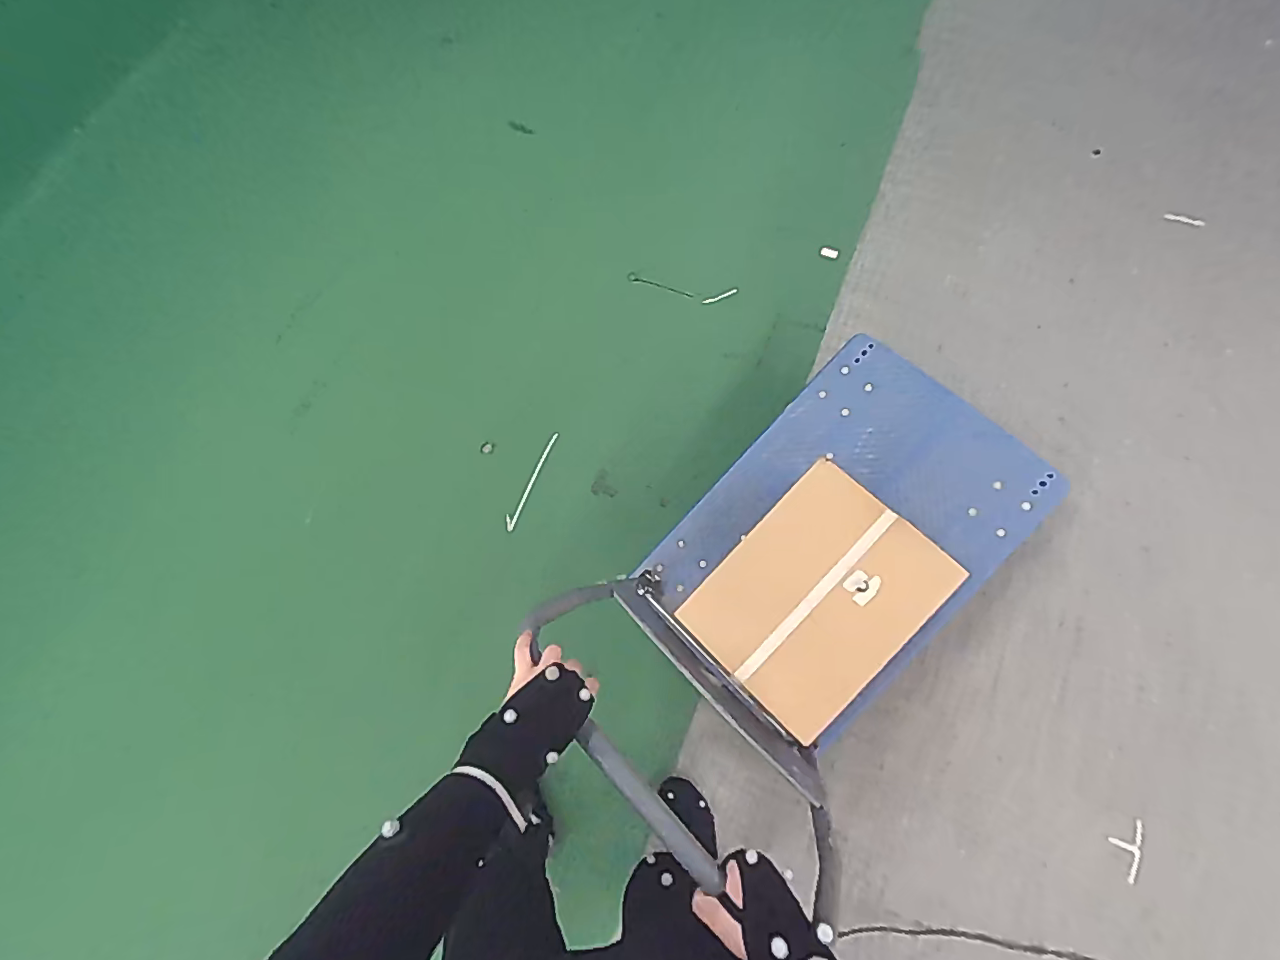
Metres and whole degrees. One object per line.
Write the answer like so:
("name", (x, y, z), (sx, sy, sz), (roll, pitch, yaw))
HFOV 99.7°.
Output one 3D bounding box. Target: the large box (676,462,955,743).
("large box", (0.330, 0.239, 1.103), (0.320, 0.320, 0.408), (43, 89, 15))
